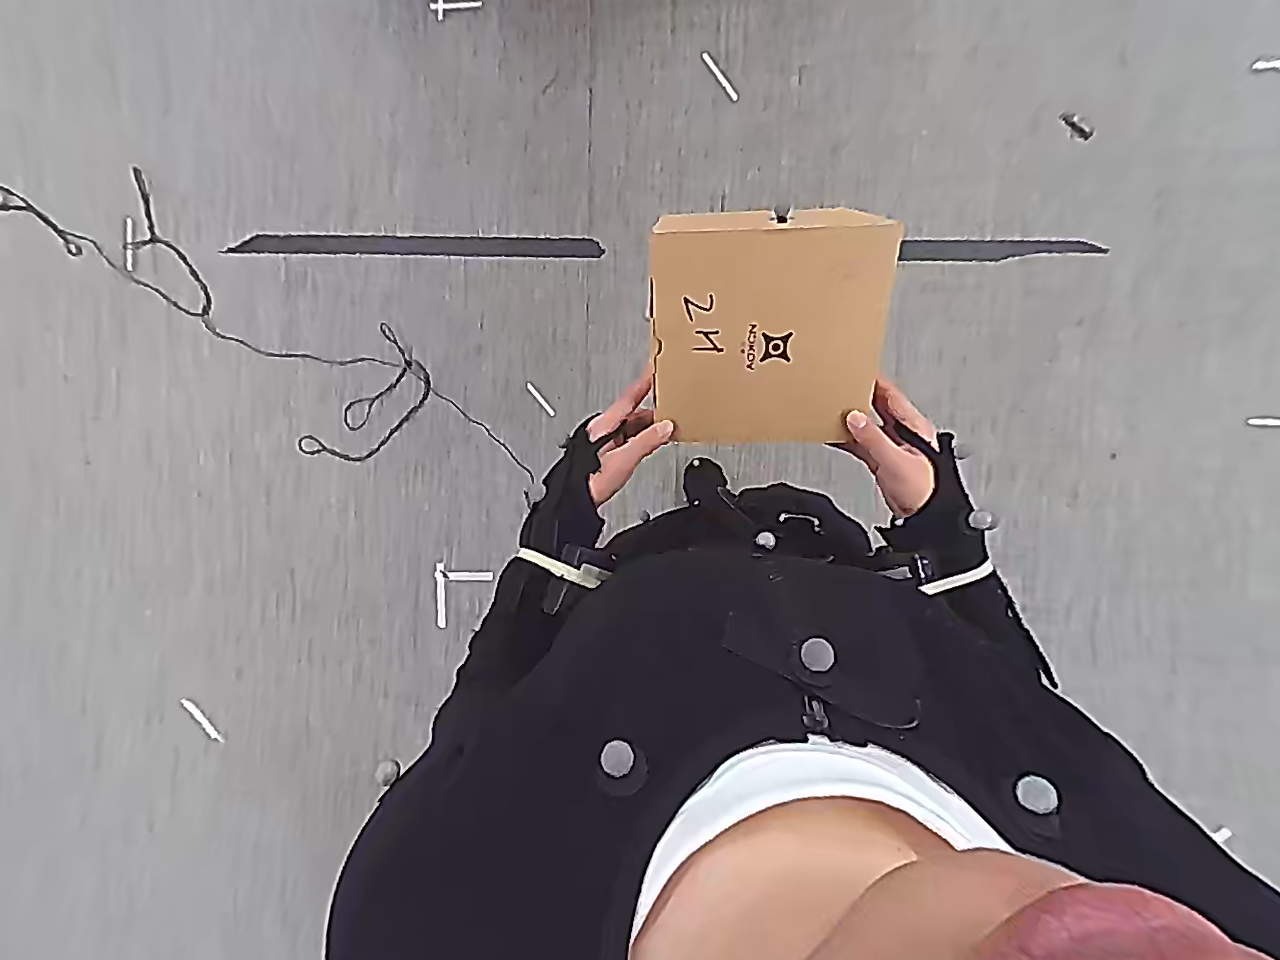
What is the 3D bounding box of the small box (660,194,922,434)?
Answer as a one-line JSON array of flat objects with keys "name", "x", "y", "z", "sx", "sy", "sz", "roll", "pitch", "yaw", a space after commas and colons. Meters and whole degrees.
[{"name": "small box", "x": 0.109, "y": -0.151, "z": 0.471, "sx": 0.179, "sy": 0.176, "sz": 0.168, "roll": 2, "pitch": 121, "yaw": 6}]
